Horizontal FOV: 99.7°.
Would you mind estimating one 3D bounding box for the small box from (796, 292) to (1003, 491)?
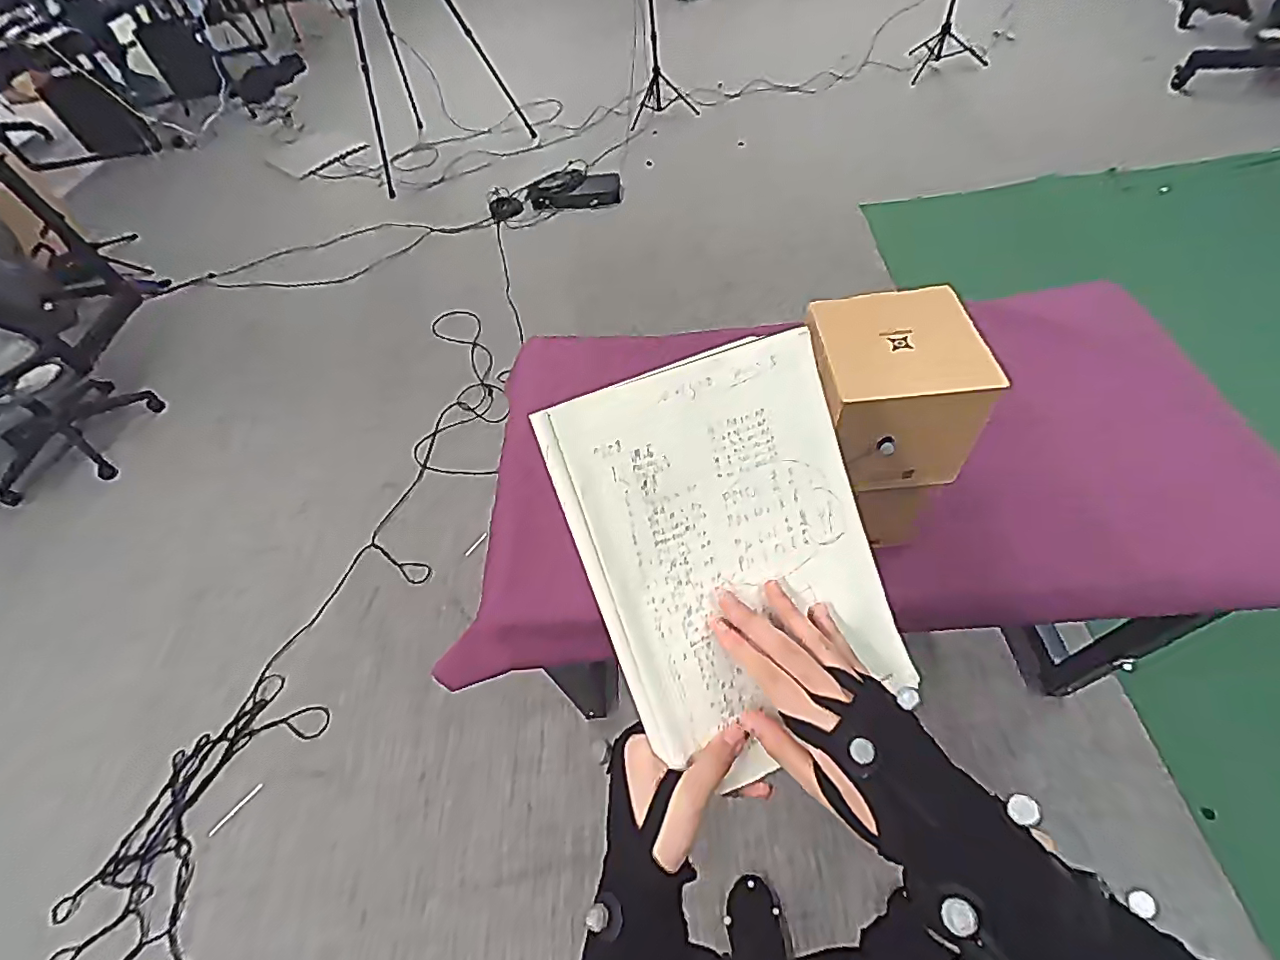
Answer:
[{"bbox_3d":[0.294,-0.098,0.660,0.168,0.176,0.179,-5,52,5],"label":"small box"}]
